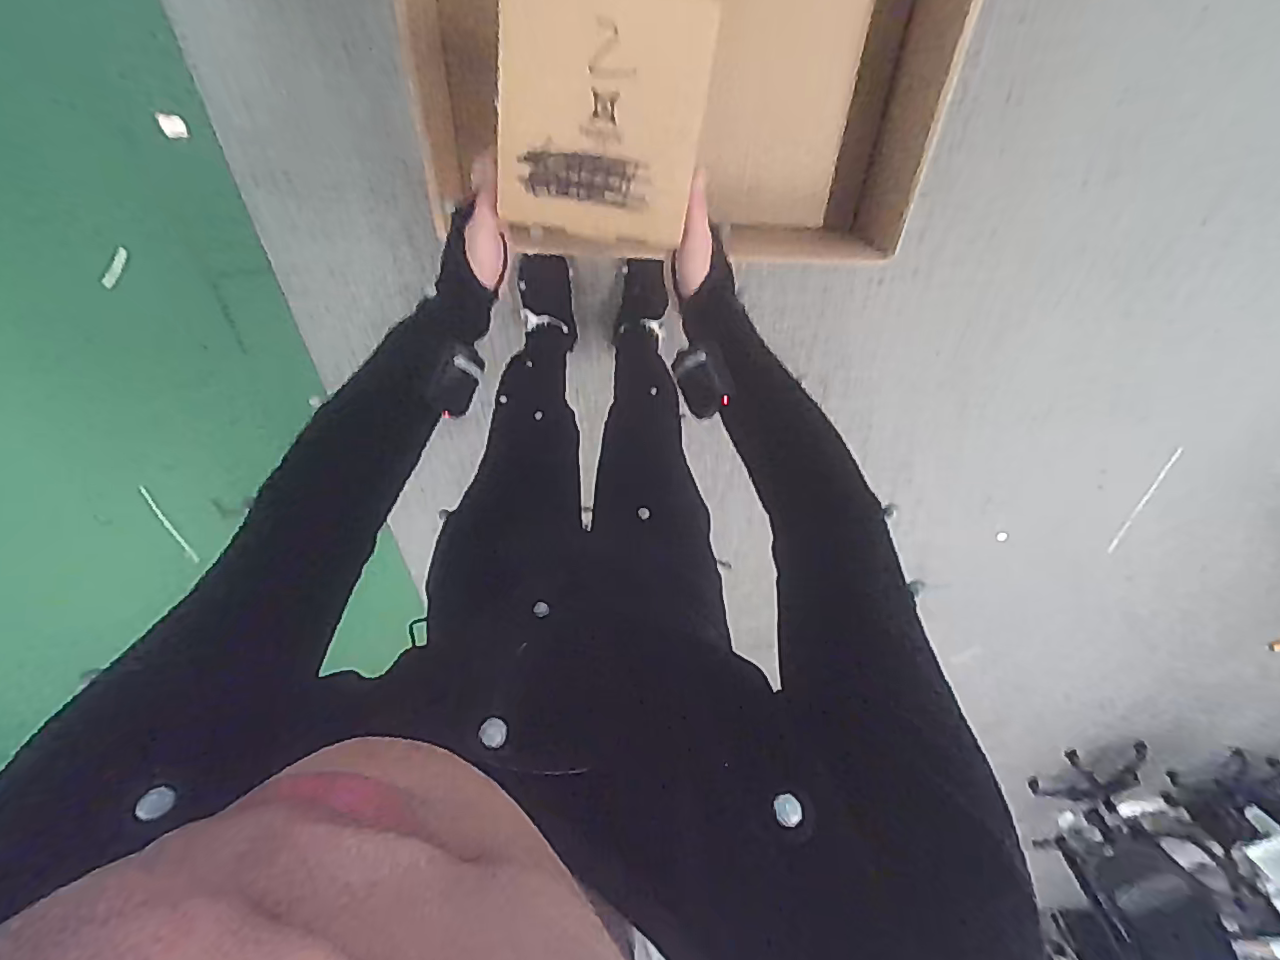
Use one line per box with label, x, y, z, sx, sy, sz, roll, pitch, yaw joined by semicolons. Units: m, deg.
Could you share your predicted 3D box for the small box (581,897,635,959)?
small box;-0.100;1.492;1.771;0.168;0.176;0.179;-3;129;-1
